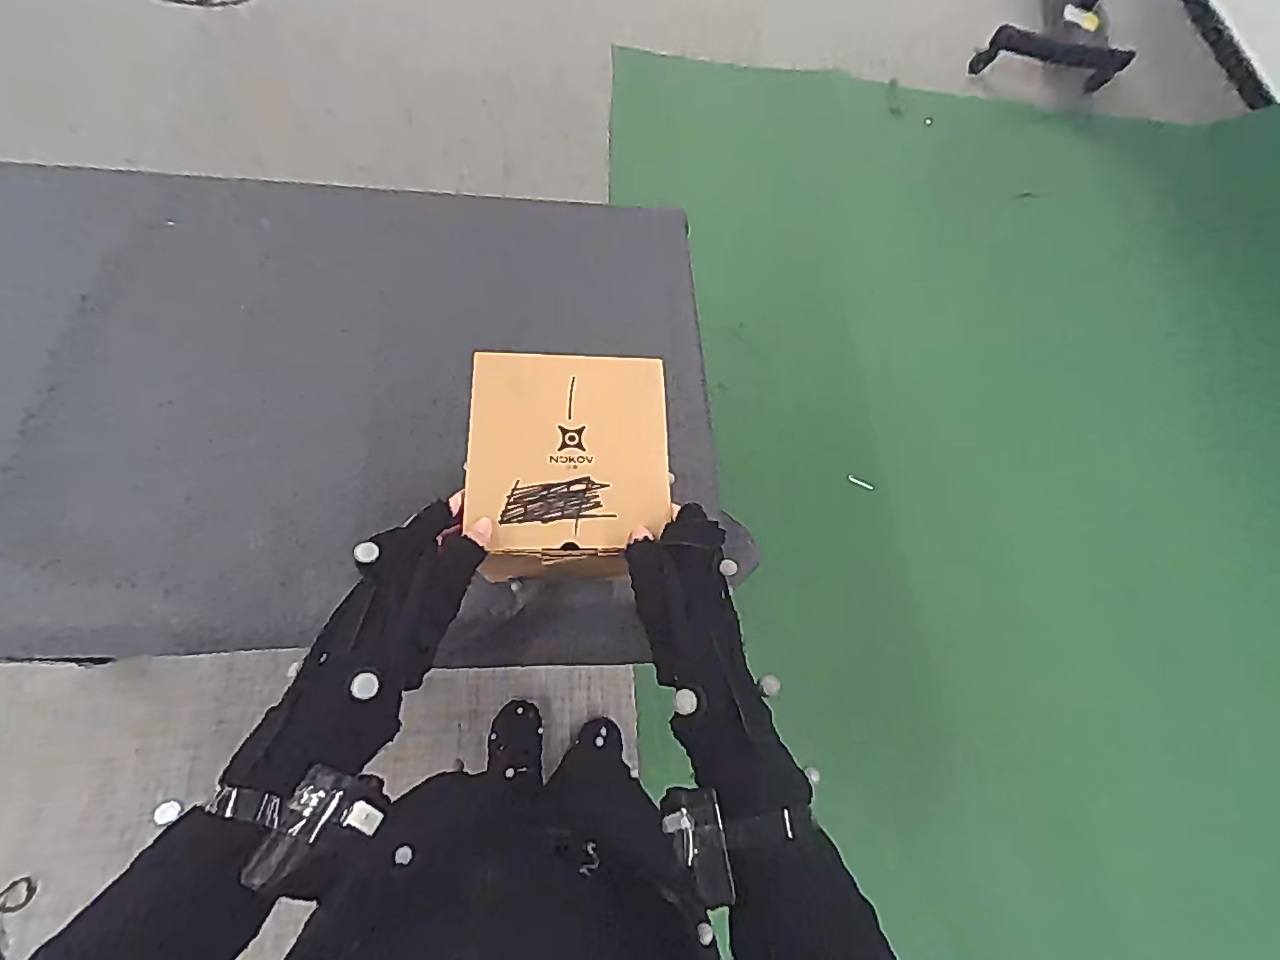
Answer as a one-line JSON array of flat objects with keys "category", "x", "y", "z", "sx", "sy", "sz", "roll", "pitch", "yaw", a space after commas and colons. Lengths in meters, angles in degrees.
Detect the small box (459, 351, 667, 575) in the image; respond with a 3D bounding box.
[{"category": "small box", "x": -0.070, "y": -0.003, "z": 0.523, "sx": 0.168, "sy": 0.176, "sz": 0.179, "roll": 1, "pitch": 71, "yaw": -8}]
